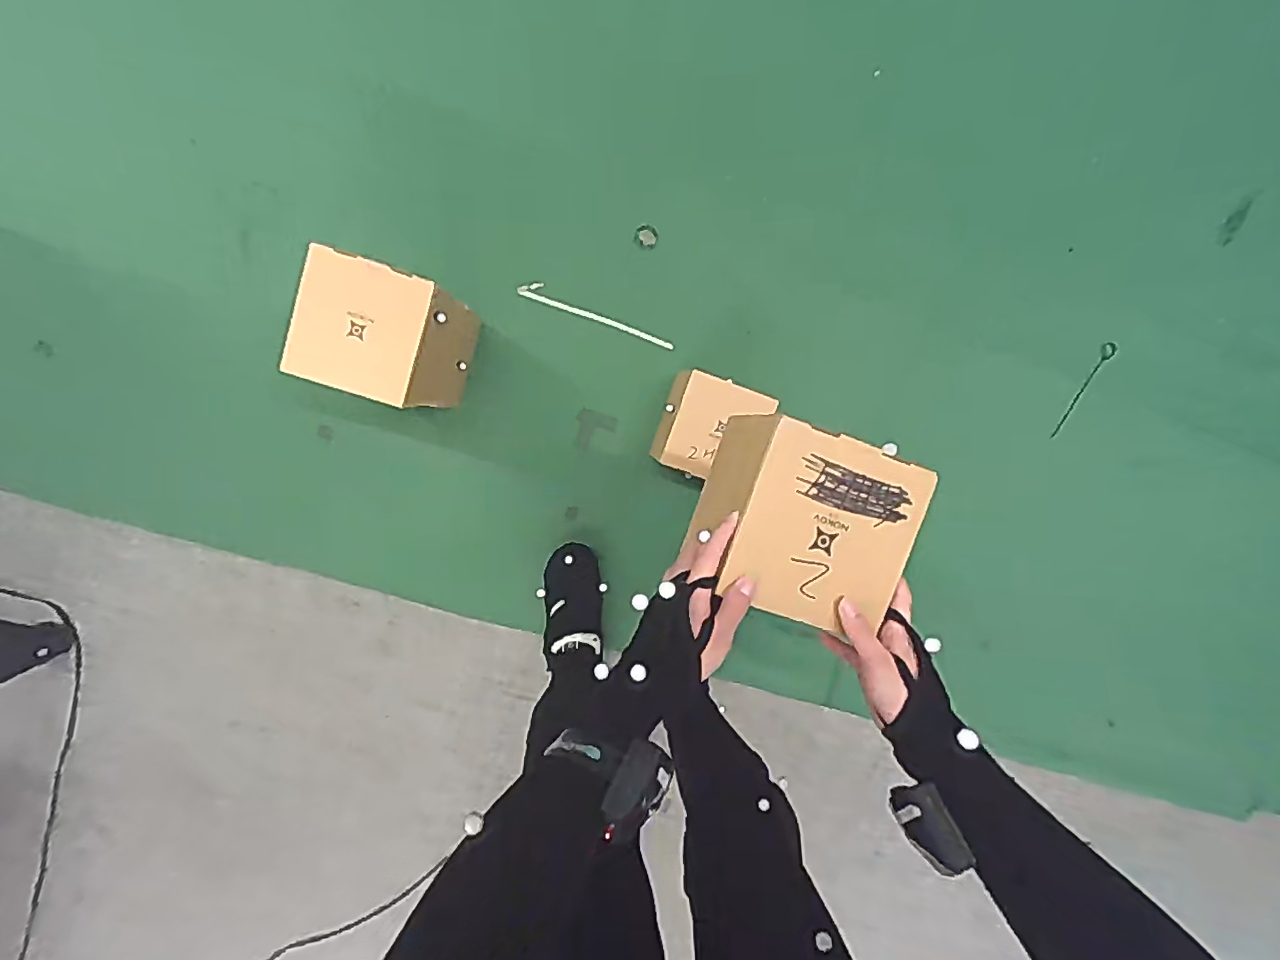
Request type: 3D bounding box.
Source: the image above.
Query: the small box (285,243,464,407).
[{"bbox_3d":[-0.376,-0.213,0.797,0.168,0.176,0.179,17,95,-6],"label":"small box"}]

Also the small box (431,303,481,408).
[{"bbox_3d":[-0.392,-0.236,0.956,0.168,0.176,0.179,18,97,-7],"label":"small box"}]

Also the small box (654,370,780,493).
[{"bbox_3d":[0.134,-0.094,1.022,0.168,0.176,0.179,19,96,-8],"label":"small box"}]
